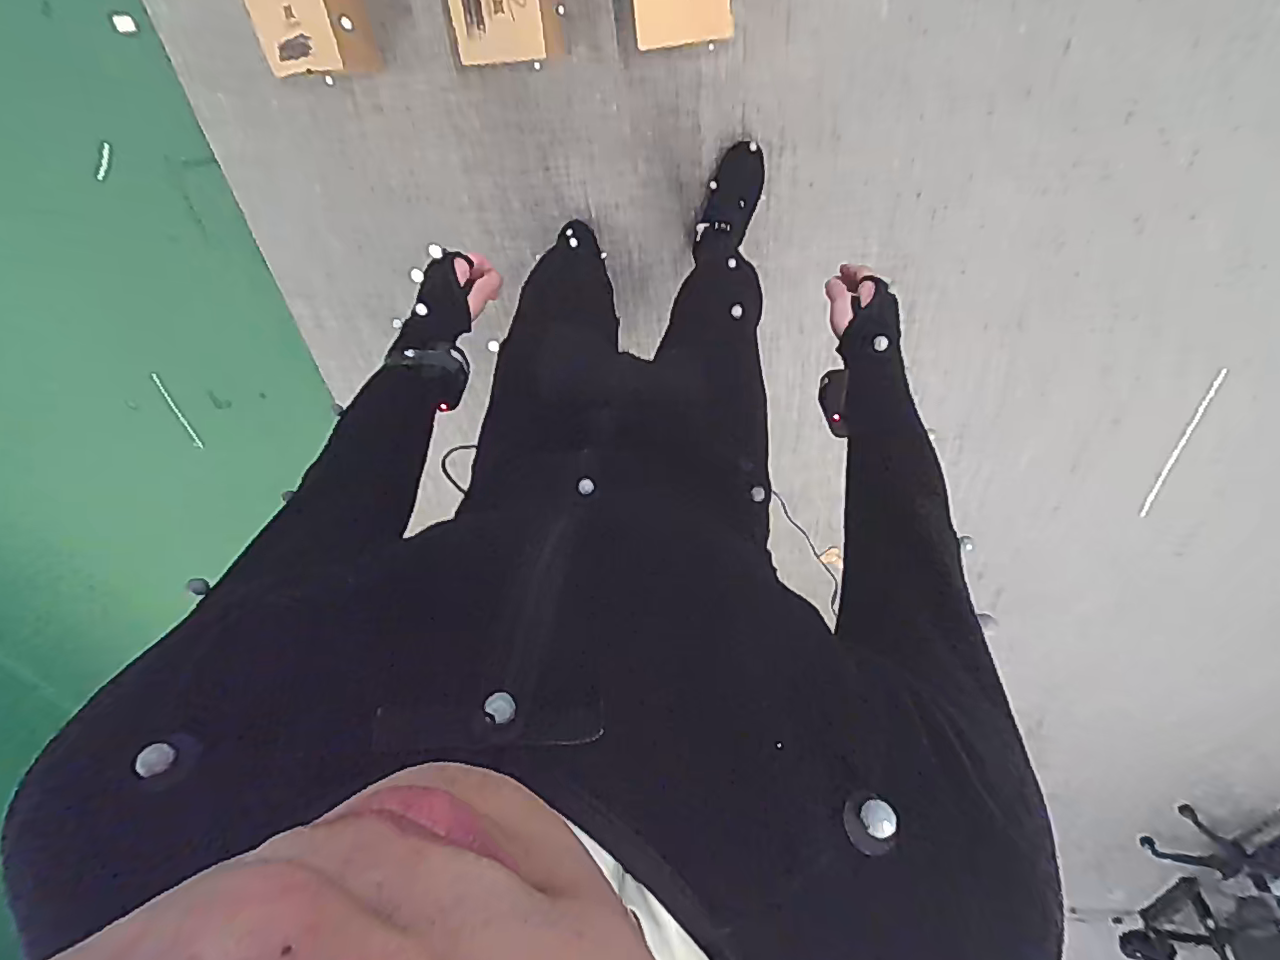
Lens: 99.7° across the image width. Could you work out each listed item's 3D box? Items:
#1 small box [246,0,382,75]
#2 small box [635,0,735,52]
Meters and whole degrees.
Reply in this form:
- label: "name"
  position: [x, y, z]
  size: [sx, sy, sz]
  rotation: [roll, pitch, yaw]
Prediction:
- label: "small box"
  position: [-0.663, -0.945, 1.105]
  size: [0.168, 0.176, 0.179]
  rotation: [2, 126, 9]
- label: "small box"
  position: [0.086, -0.908, 0.999]
  size: [0.179, 0.176, 0.168]
  rotation: [-1, 126, 10]
